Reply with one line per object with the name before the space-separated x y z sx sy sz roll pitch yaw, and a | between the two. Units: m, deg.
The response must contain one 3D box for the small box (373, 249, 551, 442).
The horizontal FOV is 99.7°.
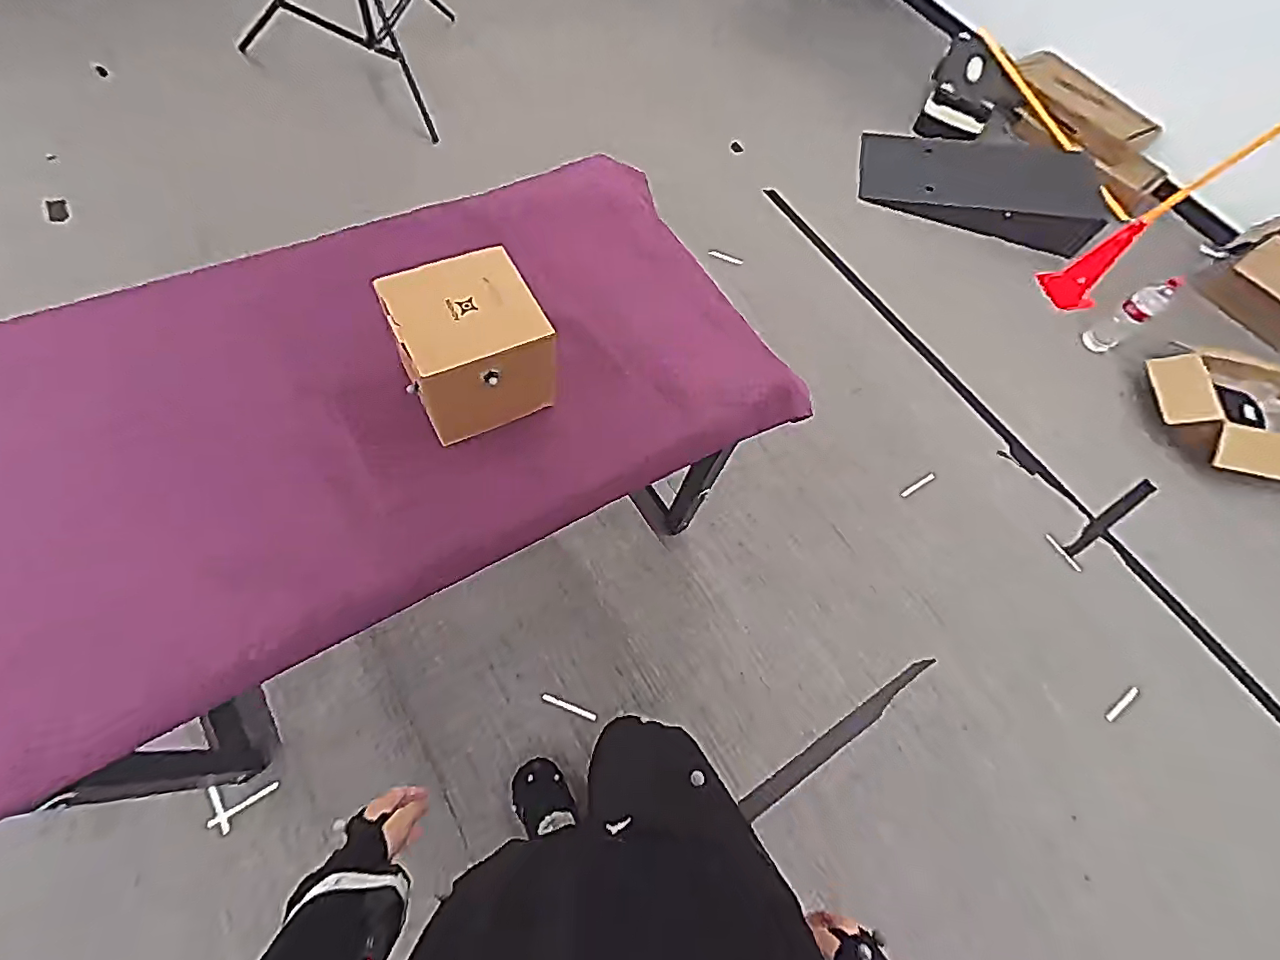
small box | -0.235 -0.179 0.751 0.179 0.176 0.168 -25 71 -20
